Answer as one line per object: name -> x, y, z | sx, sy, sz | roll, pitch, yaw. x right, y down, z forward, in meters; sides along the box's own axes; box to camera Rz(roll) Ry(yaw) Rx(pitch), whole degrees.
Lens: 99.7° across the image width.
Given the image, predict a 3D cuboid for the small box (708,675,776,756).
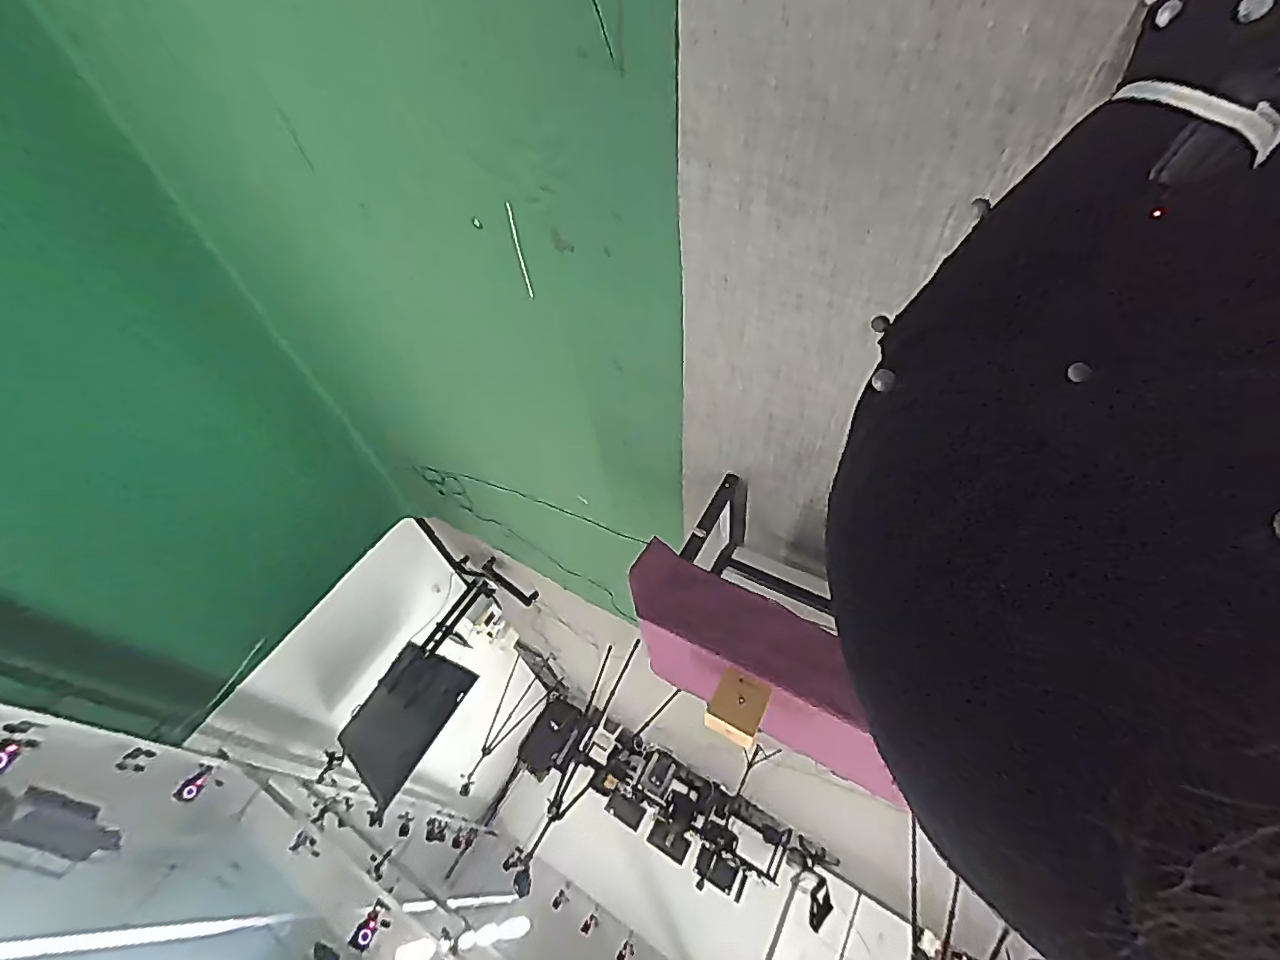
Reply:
small box -> 0.335, 0.772, 1.779 | 0.168, 0.176, 0.179 | 22, 148, 22
